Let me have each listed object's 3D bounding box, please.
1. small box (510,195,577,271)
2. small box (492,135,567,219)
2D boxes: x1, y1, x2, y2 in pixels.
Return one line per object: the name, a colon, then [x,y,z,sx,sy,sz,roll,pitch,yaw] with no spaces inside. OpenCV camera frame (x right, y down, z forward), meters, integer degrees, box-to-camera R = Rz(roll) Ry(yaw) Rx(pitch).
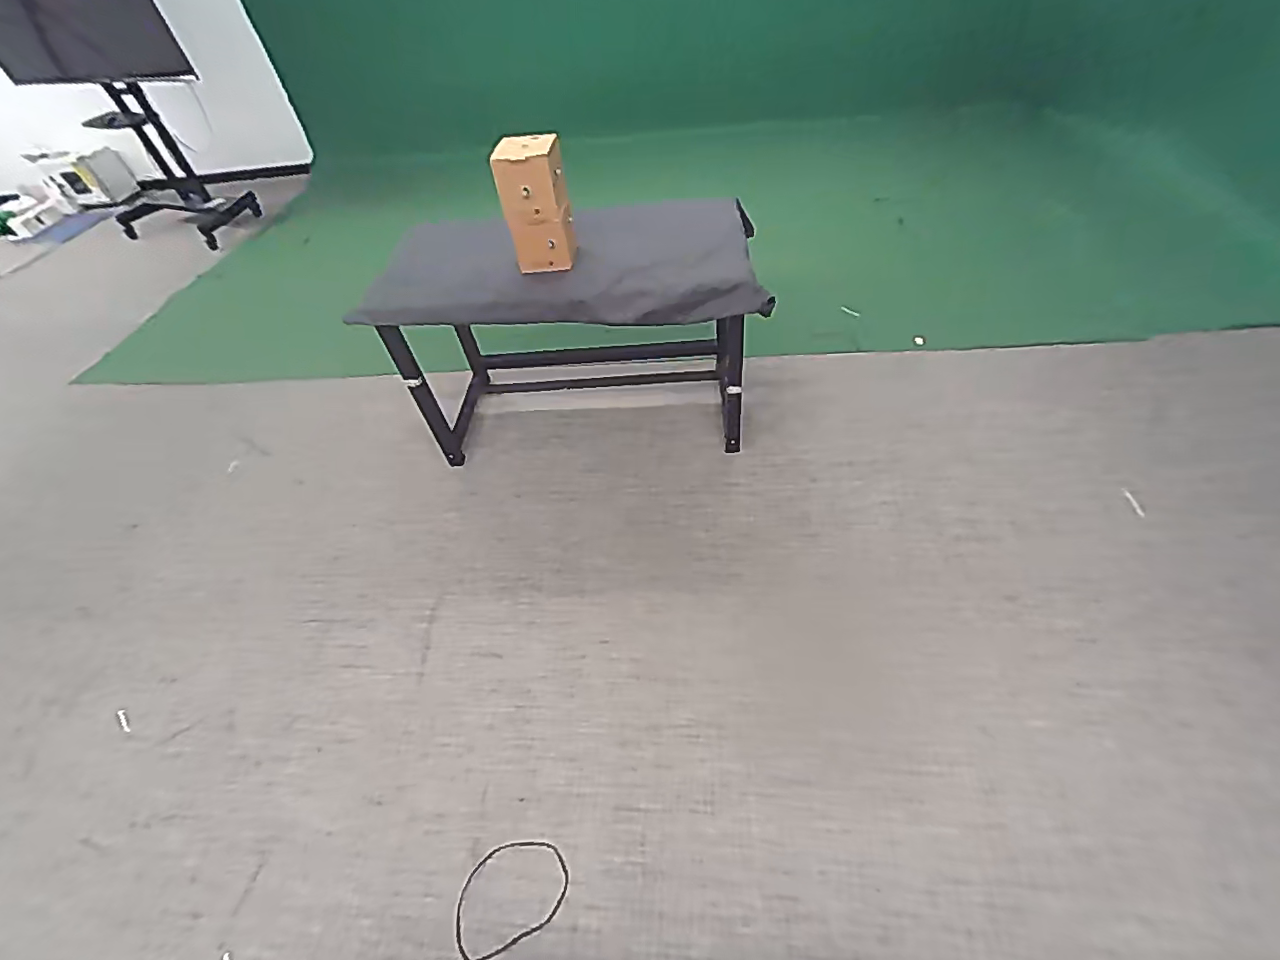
small box: [-0.299,-0.778,1.717,0.168,0.176,0.179,-2,48,4]
small box: [-0.317,-0.889,1.597,0.168,0.176,0.179,-1,50,5]
